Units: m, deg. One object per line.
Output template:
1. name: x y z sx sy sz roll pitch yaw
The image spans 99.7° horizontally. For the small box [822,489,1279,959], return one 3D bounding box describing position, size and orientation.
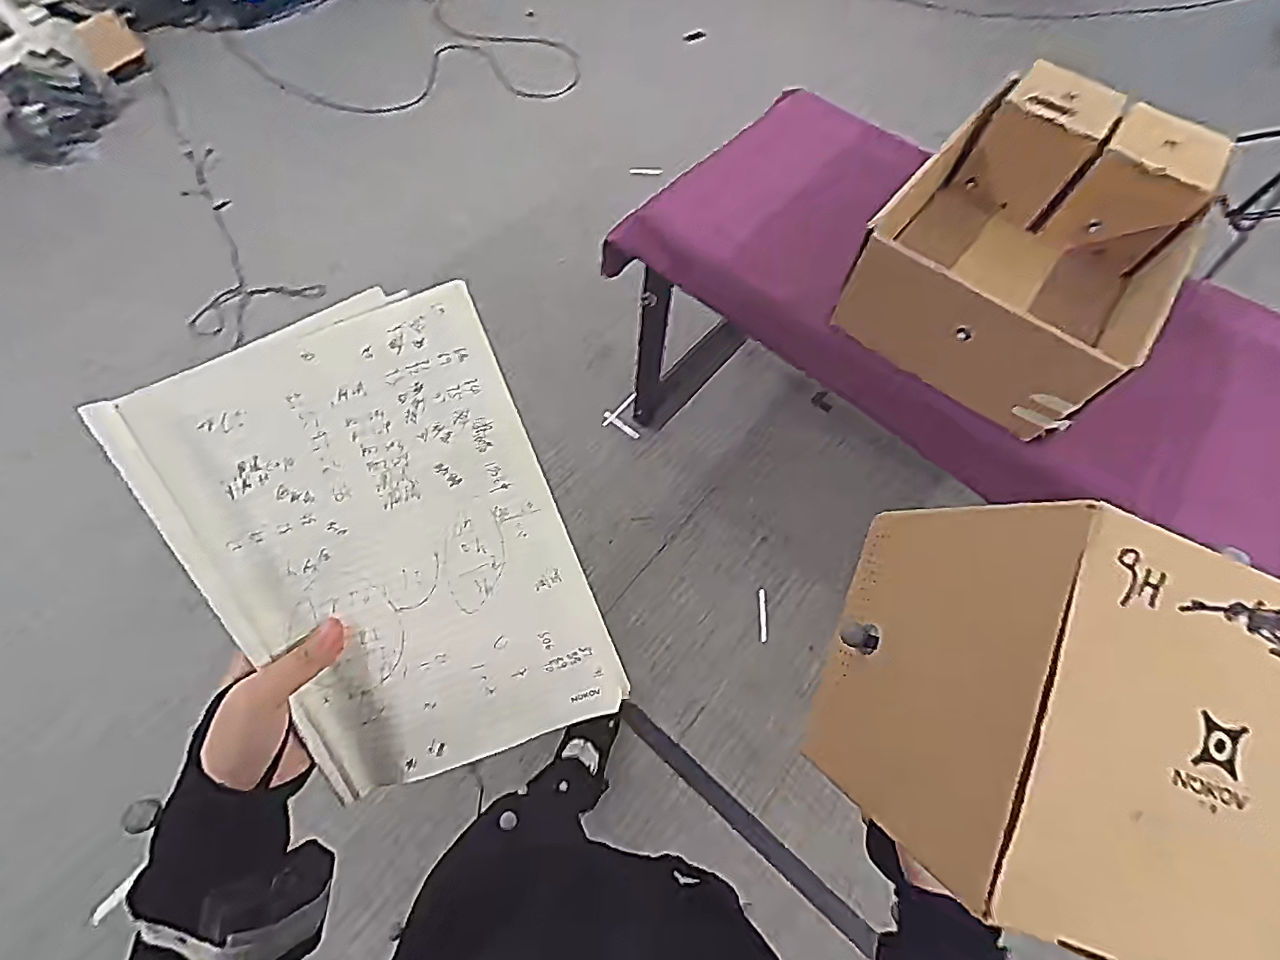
1. small box: 0.228 0.120 0.301 0.168 0.176 0.179 23 82 -6
